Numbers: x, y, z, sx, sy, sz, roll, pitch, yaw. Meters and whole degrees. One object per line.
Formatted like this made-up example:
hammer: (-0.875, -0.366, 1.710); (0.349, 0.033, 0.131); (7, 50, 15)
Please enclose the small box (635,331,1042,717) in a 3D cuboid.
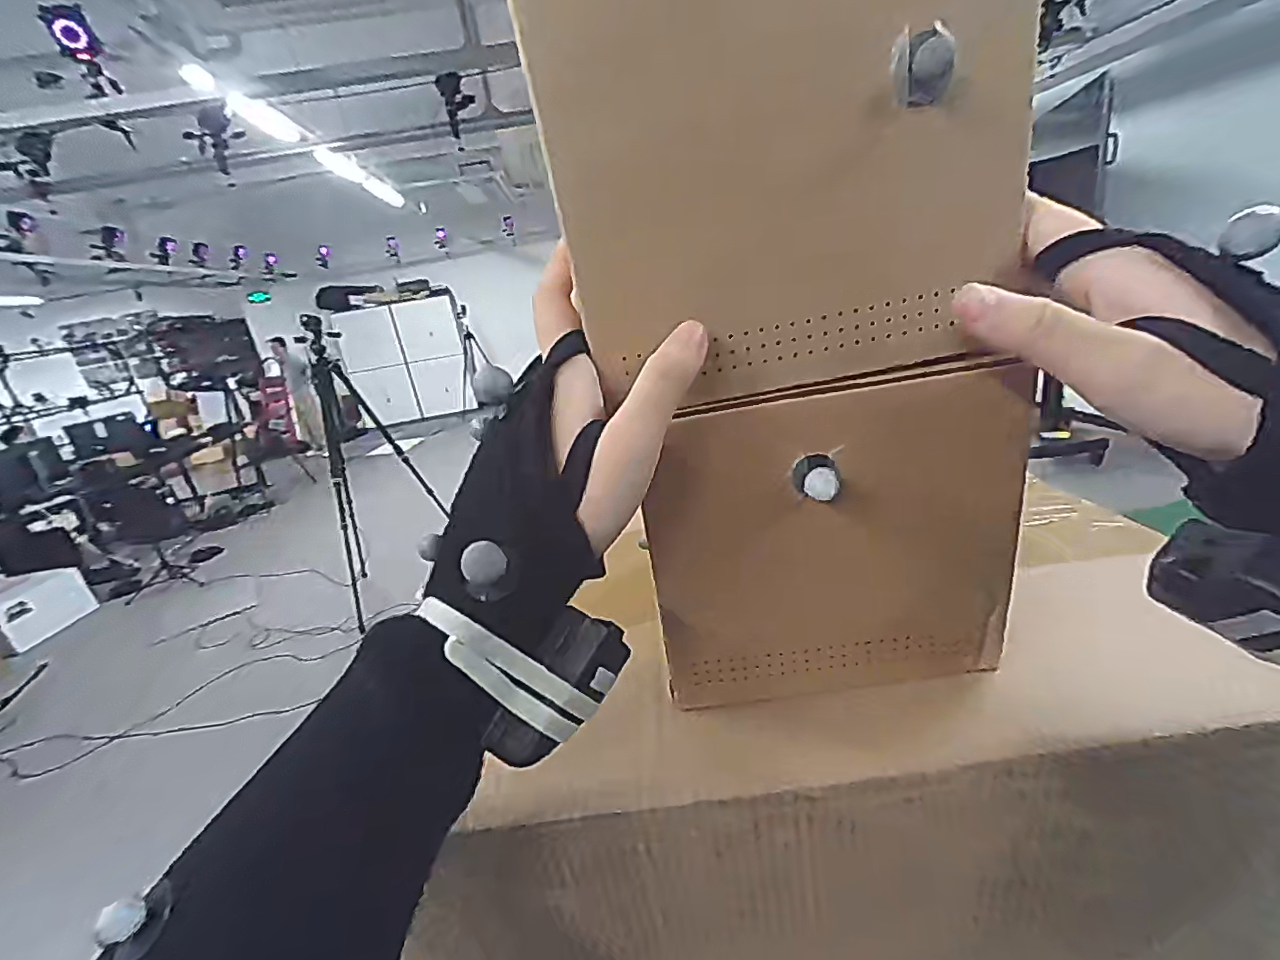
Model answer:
small box: (0.095, 0.016, 0.332); (0.179, 0.176, 0.168); (-9, 21, 3)
